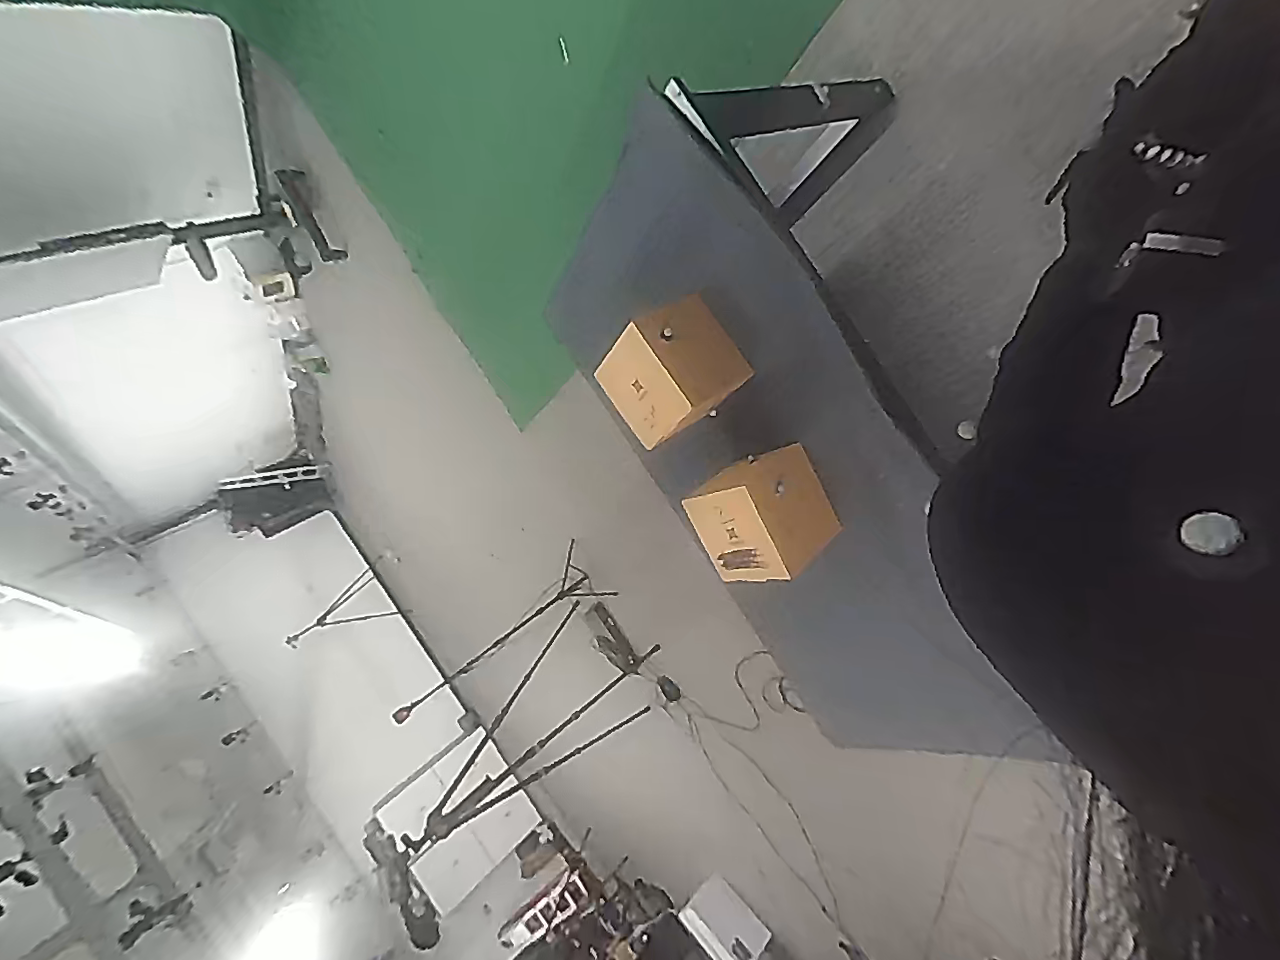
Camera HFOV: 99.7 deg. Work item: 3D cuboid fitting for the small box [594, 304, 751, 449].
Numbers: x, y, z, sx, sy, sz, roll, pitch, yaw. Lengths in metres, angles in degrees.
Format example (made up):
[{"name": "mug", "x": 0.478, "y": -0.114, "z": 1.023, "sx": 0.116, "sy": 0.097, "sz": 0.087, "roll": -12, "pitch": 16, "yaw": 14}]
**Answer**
[{"name": "small box", "x": 0.056, "y": -0.188, "z": 0.952, "sx": 0.179, "sy": 0.176, "sz": 0.168, "roll": 55, "pitch": 145, "yaw": 3}]
